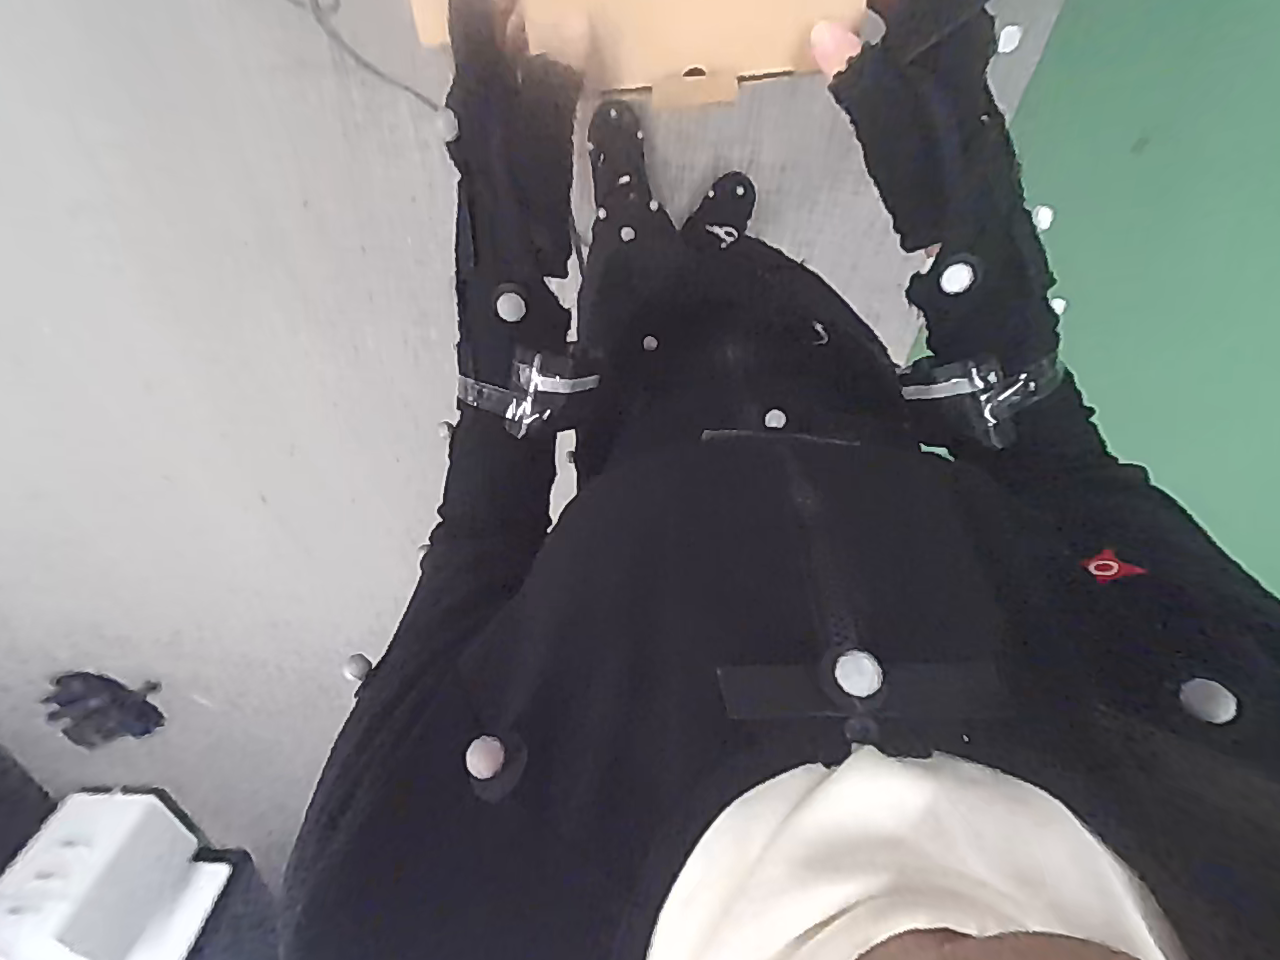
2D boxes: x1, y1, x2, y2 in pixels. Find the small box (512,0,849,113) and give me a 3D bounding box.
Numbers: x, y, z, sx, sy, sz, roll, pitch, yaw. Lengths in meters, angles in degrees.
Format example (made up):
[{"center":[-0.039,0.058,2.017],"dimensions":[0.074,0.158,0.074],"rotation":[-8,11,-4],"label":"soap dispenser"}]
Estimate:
[{"center":[0.014,-0.325,0.283],"dimensions":[0.168,0.176,0.179],"rotation":[-6,134,6],"label":"small box"}]
